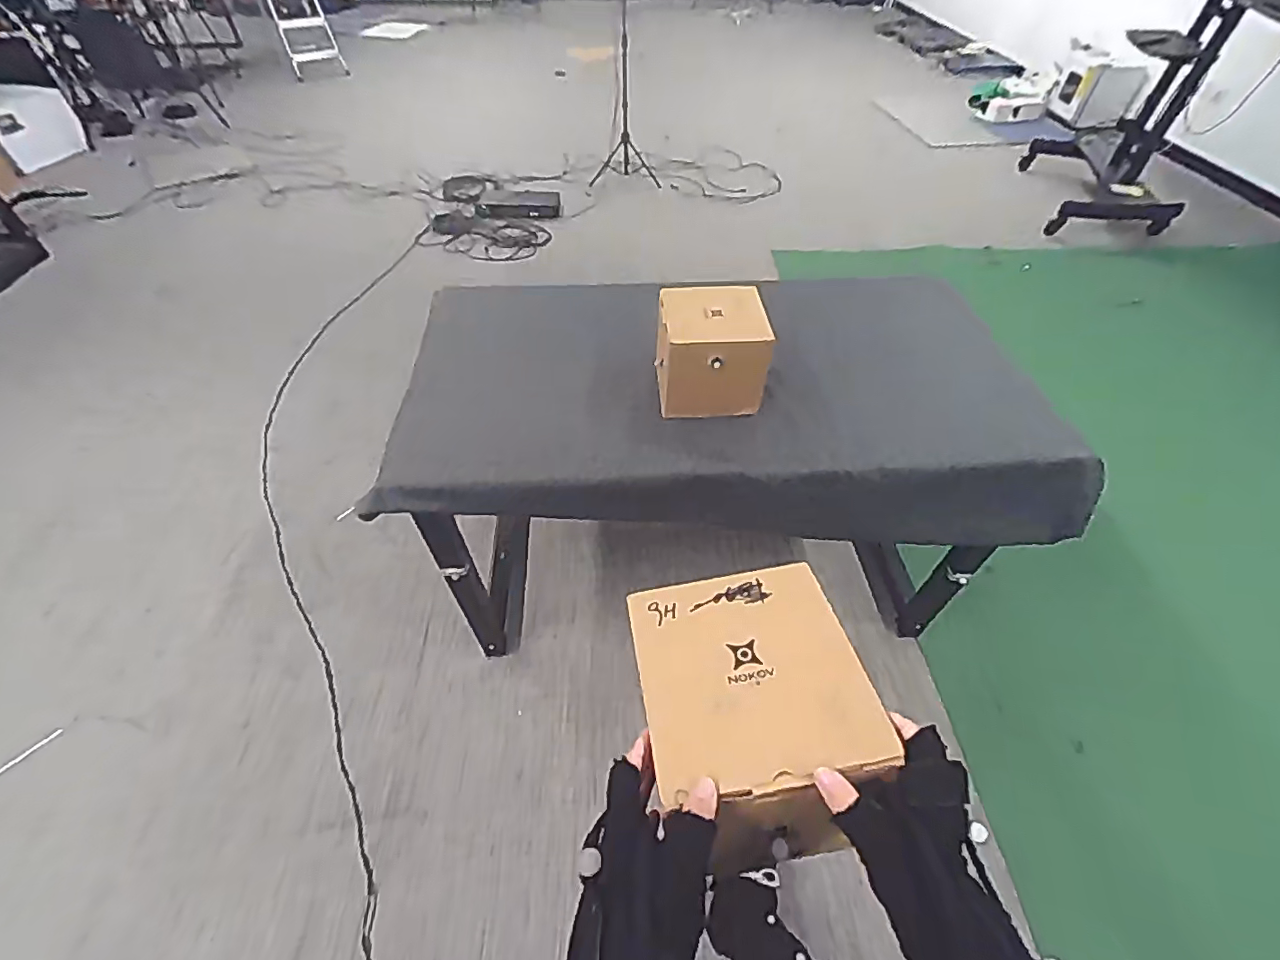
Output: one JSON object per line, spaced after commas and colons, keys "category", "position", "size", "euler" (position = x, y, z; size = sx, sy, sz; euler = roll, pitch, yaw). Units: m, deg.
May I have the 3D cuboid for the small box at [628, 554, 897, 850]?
{"category": "small box", "position": [0.089, 0.194, 0.468], "size": [0.168, 0.176, 0.179], "euler": [-9, 42, -3]}

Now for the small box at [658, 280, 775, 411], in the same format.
{"category": "small box", "position": [0.124, -0.236, 0.967], "size": [0.179, 0.176, 0.168], "euler": [-2, 51, -3]}
